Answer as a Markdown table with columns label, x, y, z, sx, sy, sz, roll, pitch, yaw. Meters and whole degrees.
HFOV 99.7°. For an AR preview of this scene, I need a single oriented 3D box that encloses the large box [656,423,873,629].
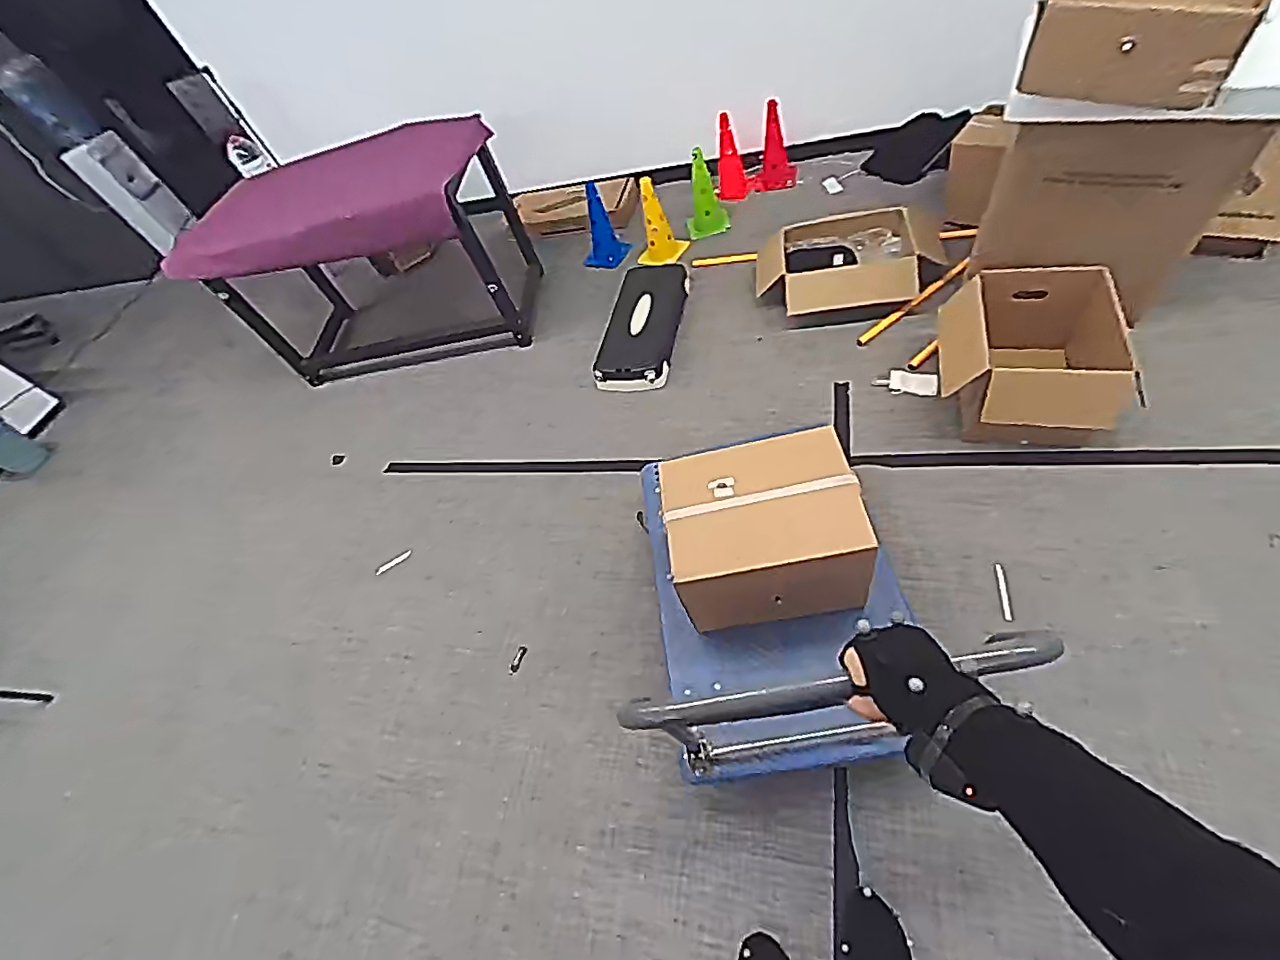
| label | x | y | z | sx | sy | sz | roll | pitch | yaw |
| --- | --- | --- | --- | --- | --- | --- | --- | --- | --- |
| large box | 0.282 | 0.121 | 1.260 | 0.408 | 0.320 | 0.320 | -13 | 52 | 10 |
